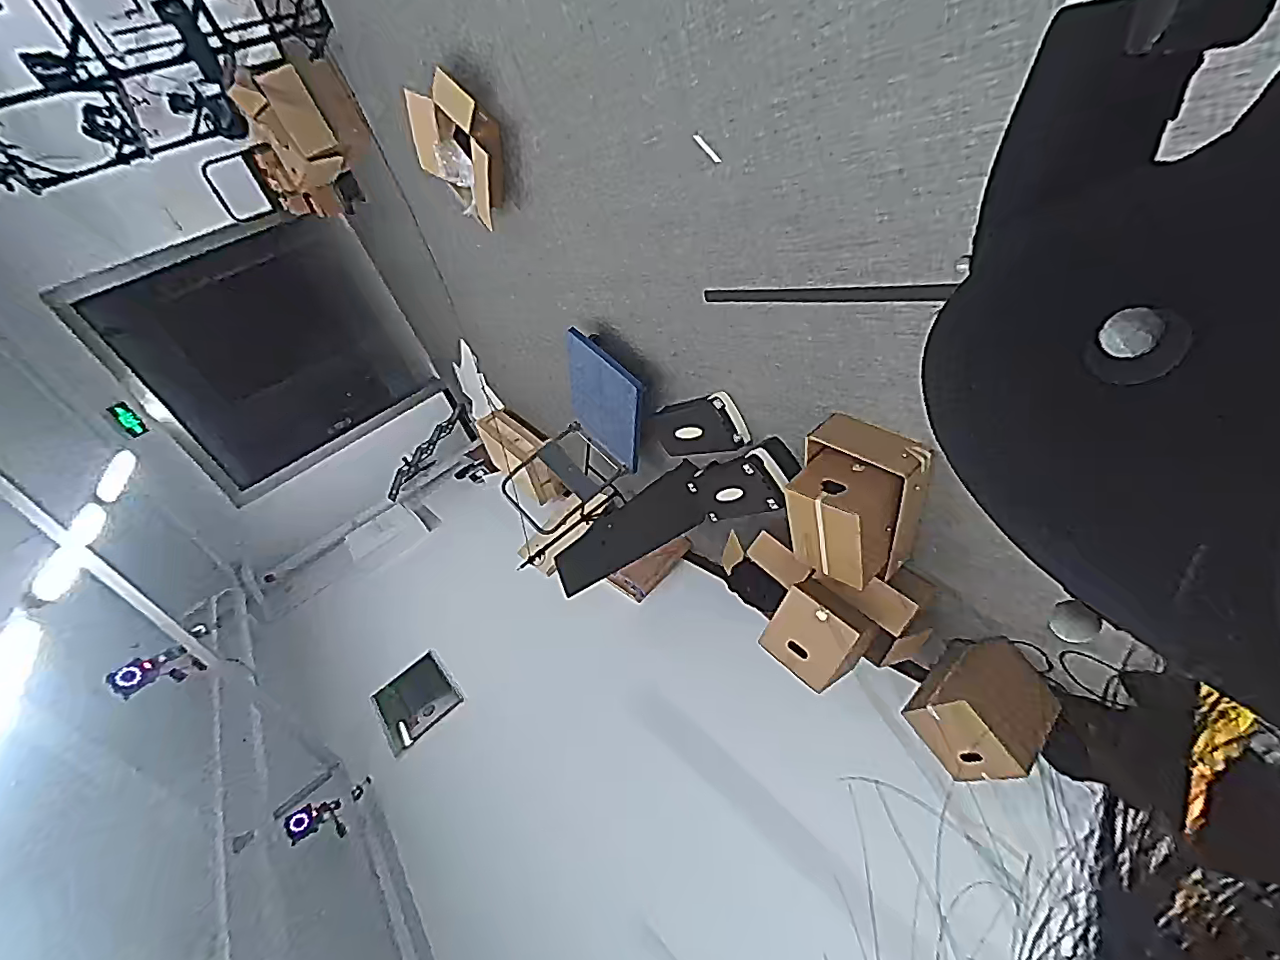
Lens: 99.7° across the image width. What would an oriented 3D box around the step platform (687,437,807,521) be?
[{"bbox_3d":[0.503,0.017,2.704,0.286,0.204,0.684,54,156,-5],"label":"step platform"}]
